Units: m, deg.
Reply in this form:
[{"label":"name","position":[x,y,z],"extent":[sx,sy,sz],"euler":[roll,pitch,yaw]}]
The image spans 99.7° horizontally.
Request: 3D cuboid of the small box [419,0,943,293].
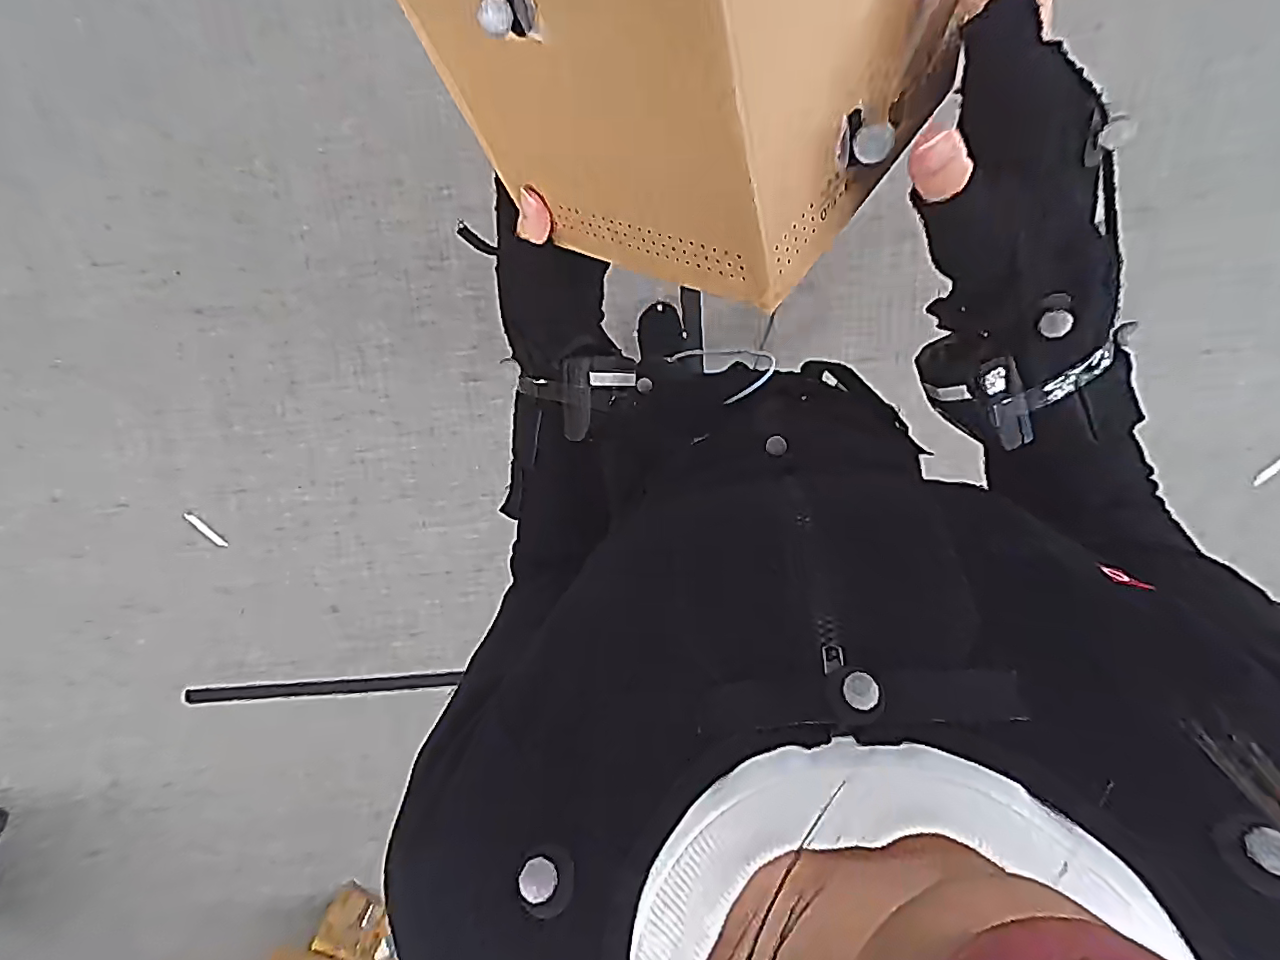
[{"label":"small box","position":[0.019,-0.217,0.253],"extent":[0.179,0.176,0.168],"euler":[32,79,32]}]
